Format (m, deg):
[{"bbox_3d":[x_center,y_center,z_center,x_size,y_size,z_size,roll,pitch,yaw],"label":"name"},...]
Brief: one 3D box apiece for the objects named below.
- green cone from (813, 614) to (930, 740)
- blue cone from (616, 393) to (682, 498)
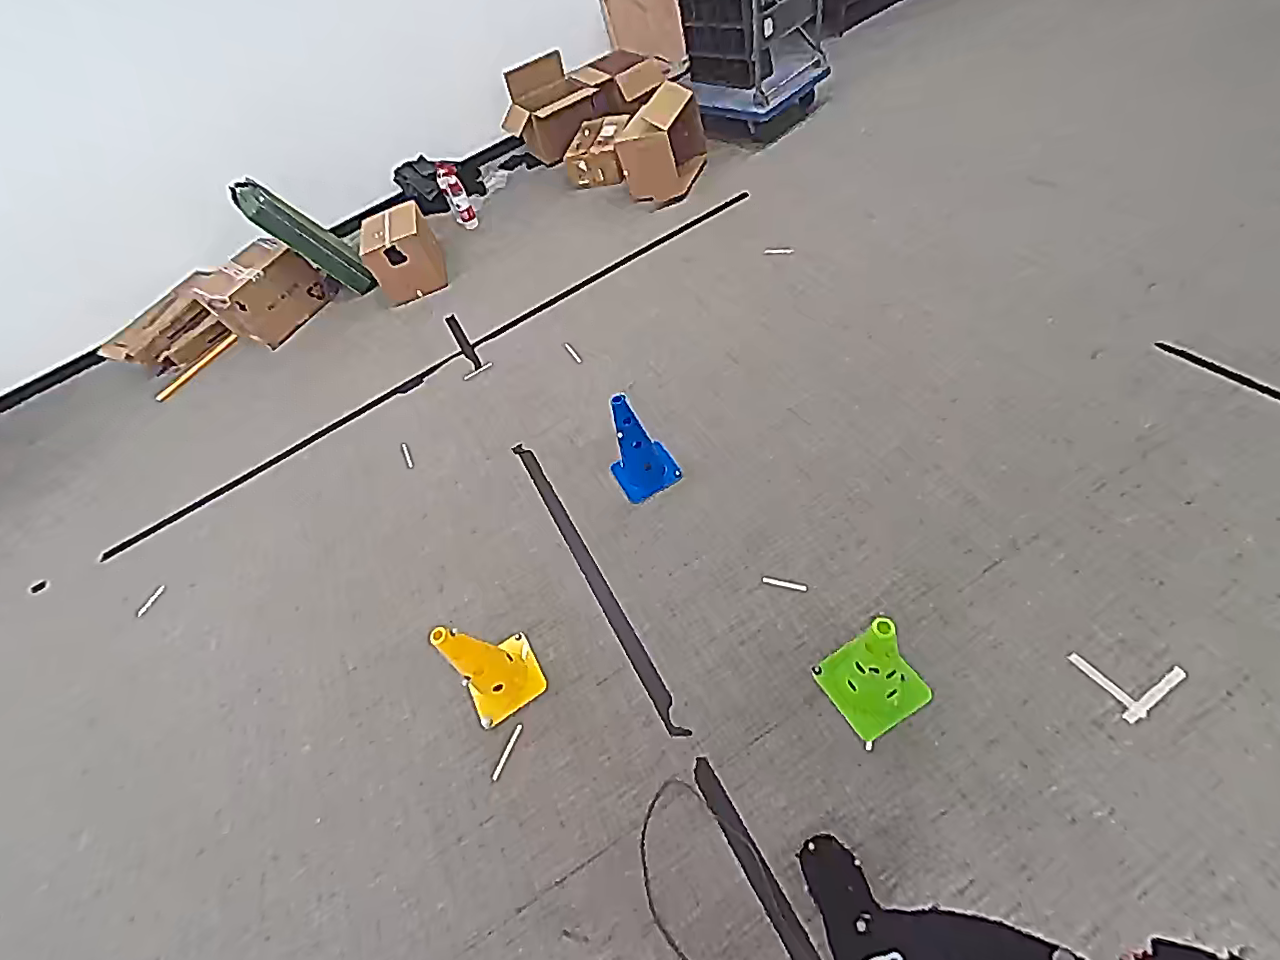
[{"bbox_3d":[0.505,0.381,1.152,0.202,0.368,0.200,-30,51,-8],"label":"green cone"},{"bbox_3d":[-0.014,-0.128,1.715,0.192,0.380,0.193,-28,51,-5],"label":"blue cone"}]
